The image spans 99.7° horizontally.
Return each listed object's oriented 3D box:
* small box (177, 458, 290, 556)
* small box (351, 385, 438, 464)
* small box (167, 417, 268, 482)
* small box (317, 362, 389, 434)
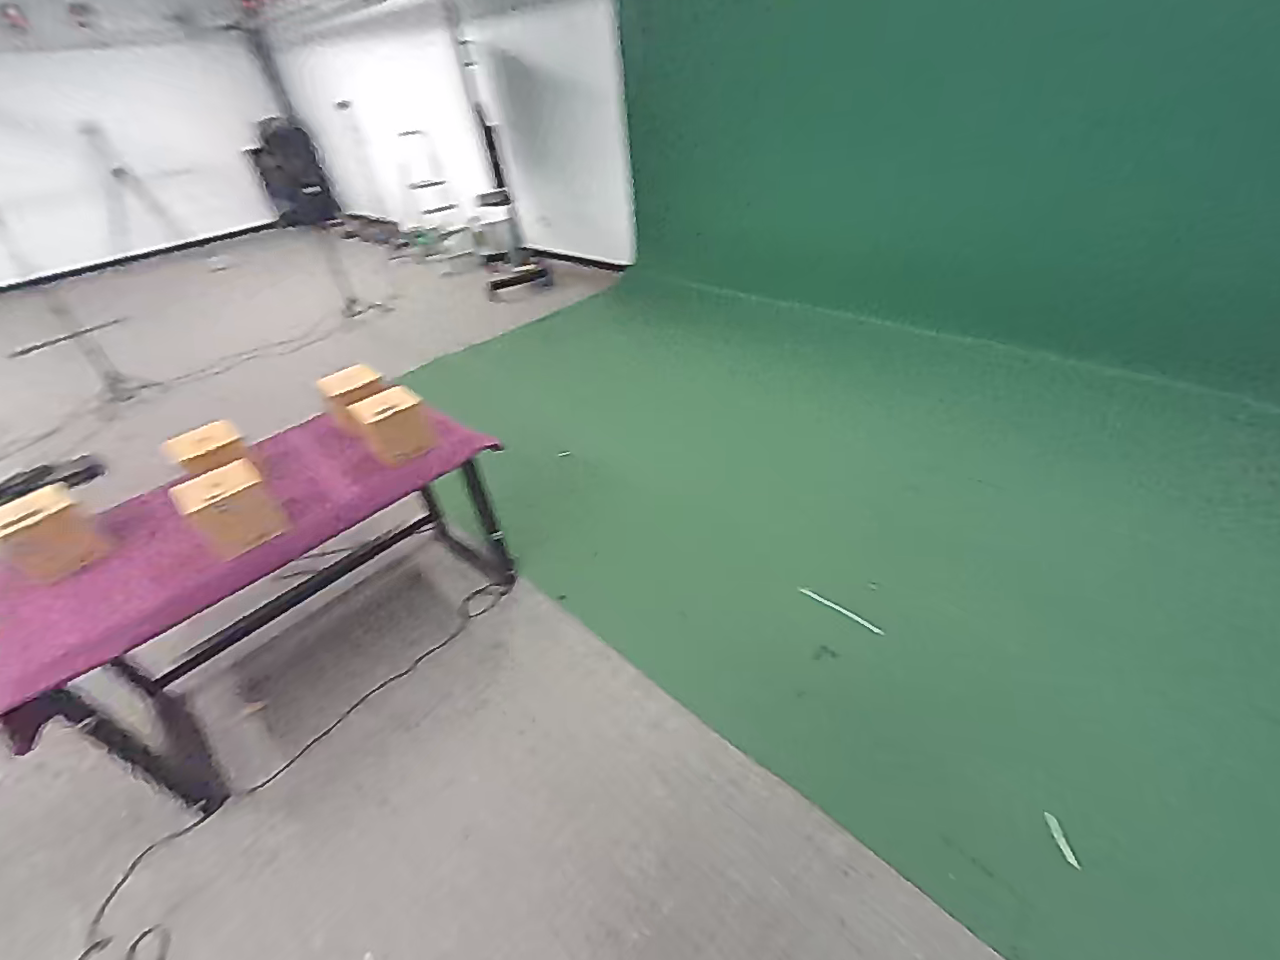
[{"bbox_3d":[-1.071,0.072,1.430,0.179,0.176,0.168,27,49,38],"label":"small box"},{"bbox_3d":[-0.762,-0.170,1.693,0.168,0.176,0.179,-33,43,-29],"label":"small box"},{"bbox_3d":[-1.270,-0.061,1.632,0.179,0.176,0.168,28,49,34],"label":"small box"},{"bbox_3d":[-0.969,-0.281,1.866,0.179,0.176,0.168,29,51,35],"label":"small box"}]
